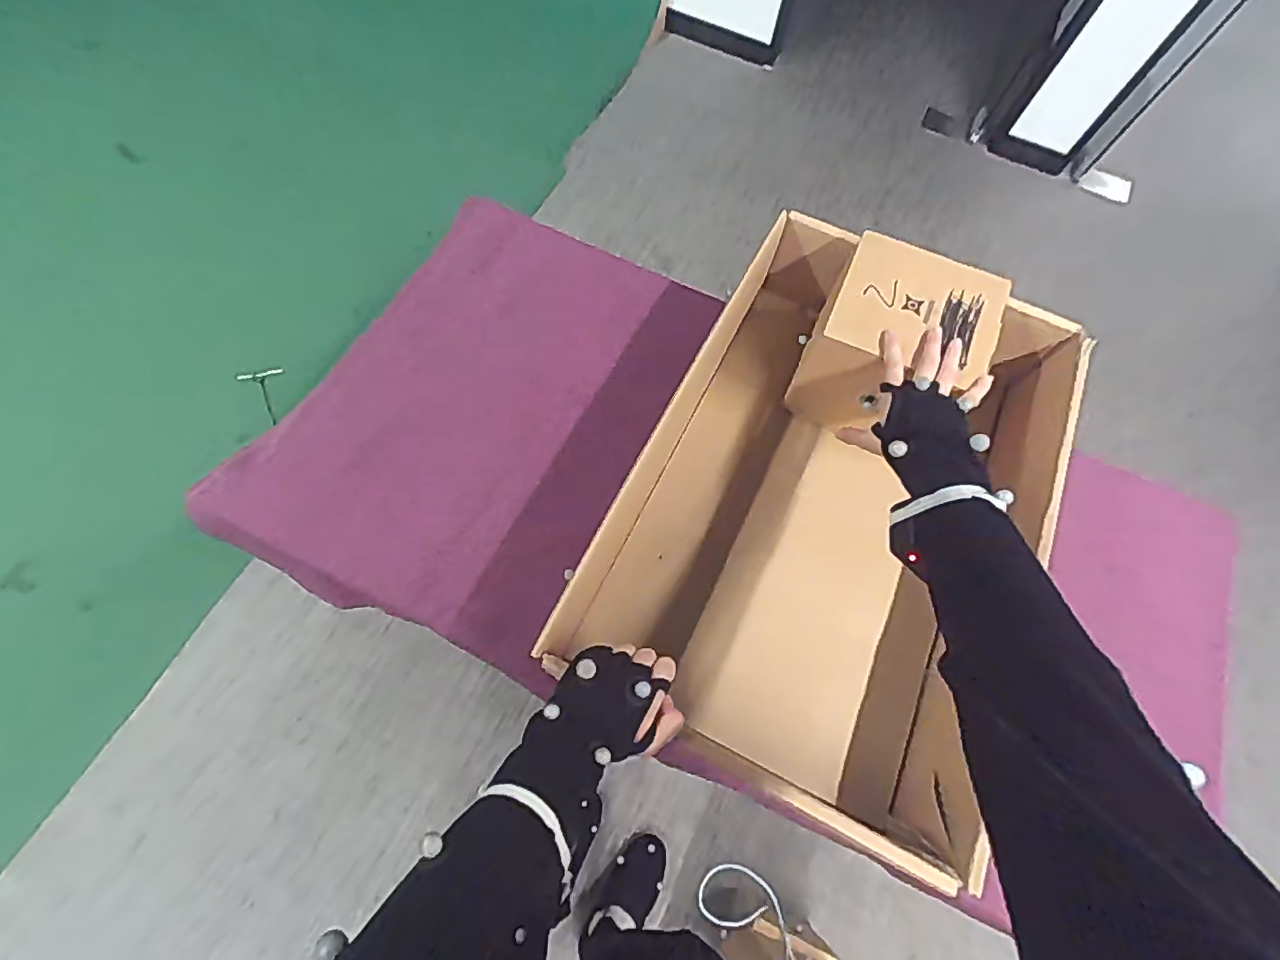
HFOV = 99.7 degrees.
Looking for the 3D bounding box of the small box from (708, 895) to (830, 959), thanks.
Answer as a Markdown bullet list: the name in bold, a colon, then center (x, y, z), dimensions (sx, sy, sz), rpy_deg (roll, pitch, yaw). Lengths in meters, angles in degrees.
- **small box**: center (0.249, 0.959, 1.058), dimensions (0.179, 0.176, 0.168), rpy_deg (24, 68, 6)
